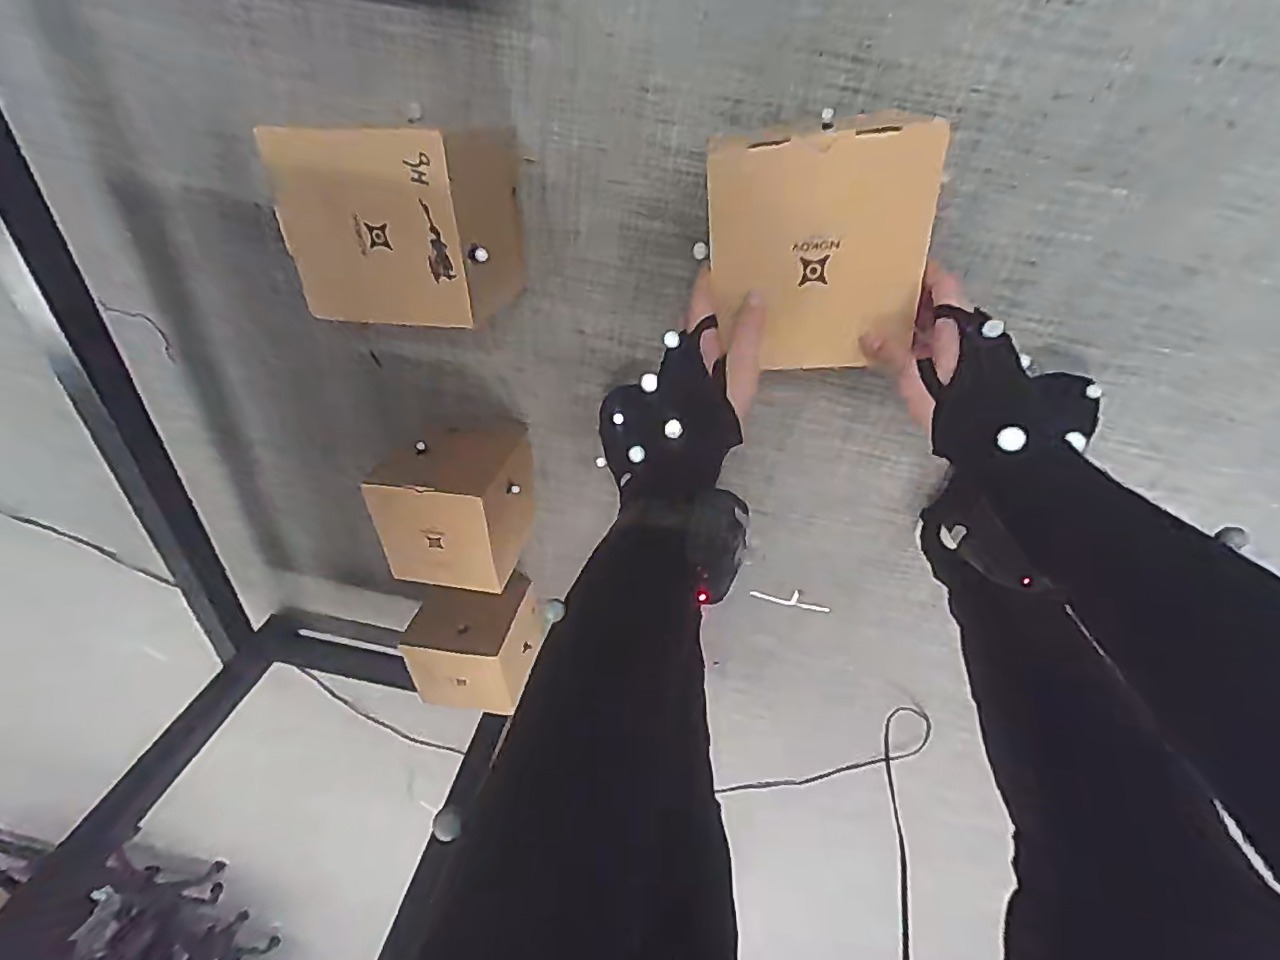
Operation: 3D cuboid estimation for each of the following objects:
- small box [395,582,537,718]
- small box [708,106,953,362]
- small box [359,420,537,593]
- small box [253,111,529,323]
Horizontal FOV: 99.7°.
[{"bbox_3d":[-0.290,0.288,0.951,0.179,0.176,0.168,5,125,8],"label":"small box"},{"bbox_3d":[0.151,-0.221,0.484,0.168,0.176,0.179,0,124,11],"label":"small box"},{"bbox_3d":[-0.256,0.031,0.767,0.168,0.176,0.179,7,126,8],"label":"small box"},{"bbox_3d":[-0.229,-0.272,0.550,0.179,0.176,0.168,7,125,7],"label":"small box"}]
